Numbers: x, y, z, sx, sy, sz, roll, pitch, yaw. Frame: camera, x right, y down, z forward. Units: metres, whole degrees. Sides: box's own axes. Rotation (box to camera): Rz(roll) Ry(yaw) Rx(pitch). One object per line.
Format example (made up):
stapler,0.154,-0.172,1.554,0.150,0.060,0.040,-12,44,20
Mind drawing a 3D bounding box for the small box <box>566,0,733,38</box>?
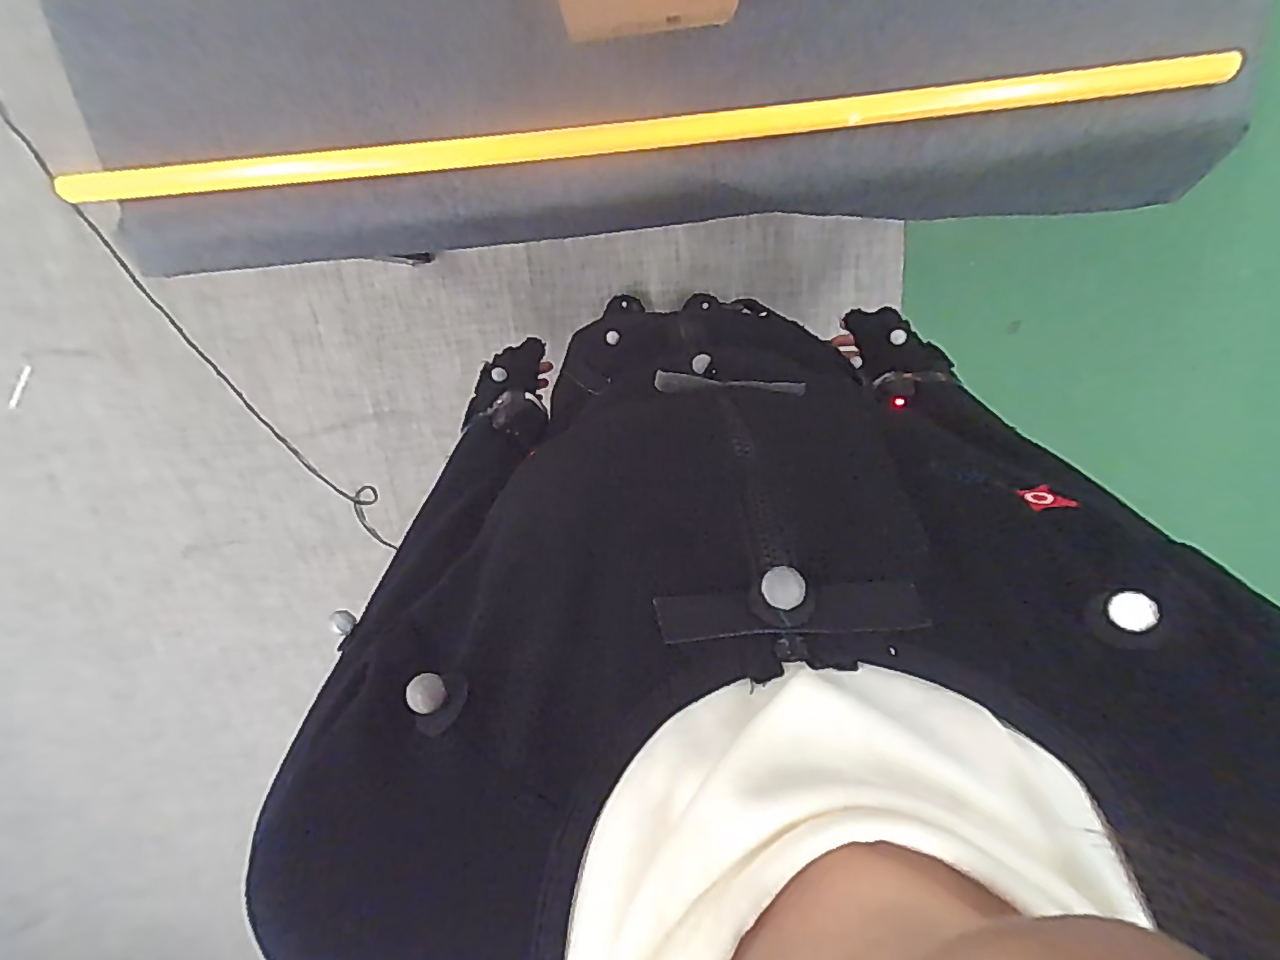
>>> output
small box,0.002,-0.512,0.444,0.168,0.176,0.179,-5,108,2
